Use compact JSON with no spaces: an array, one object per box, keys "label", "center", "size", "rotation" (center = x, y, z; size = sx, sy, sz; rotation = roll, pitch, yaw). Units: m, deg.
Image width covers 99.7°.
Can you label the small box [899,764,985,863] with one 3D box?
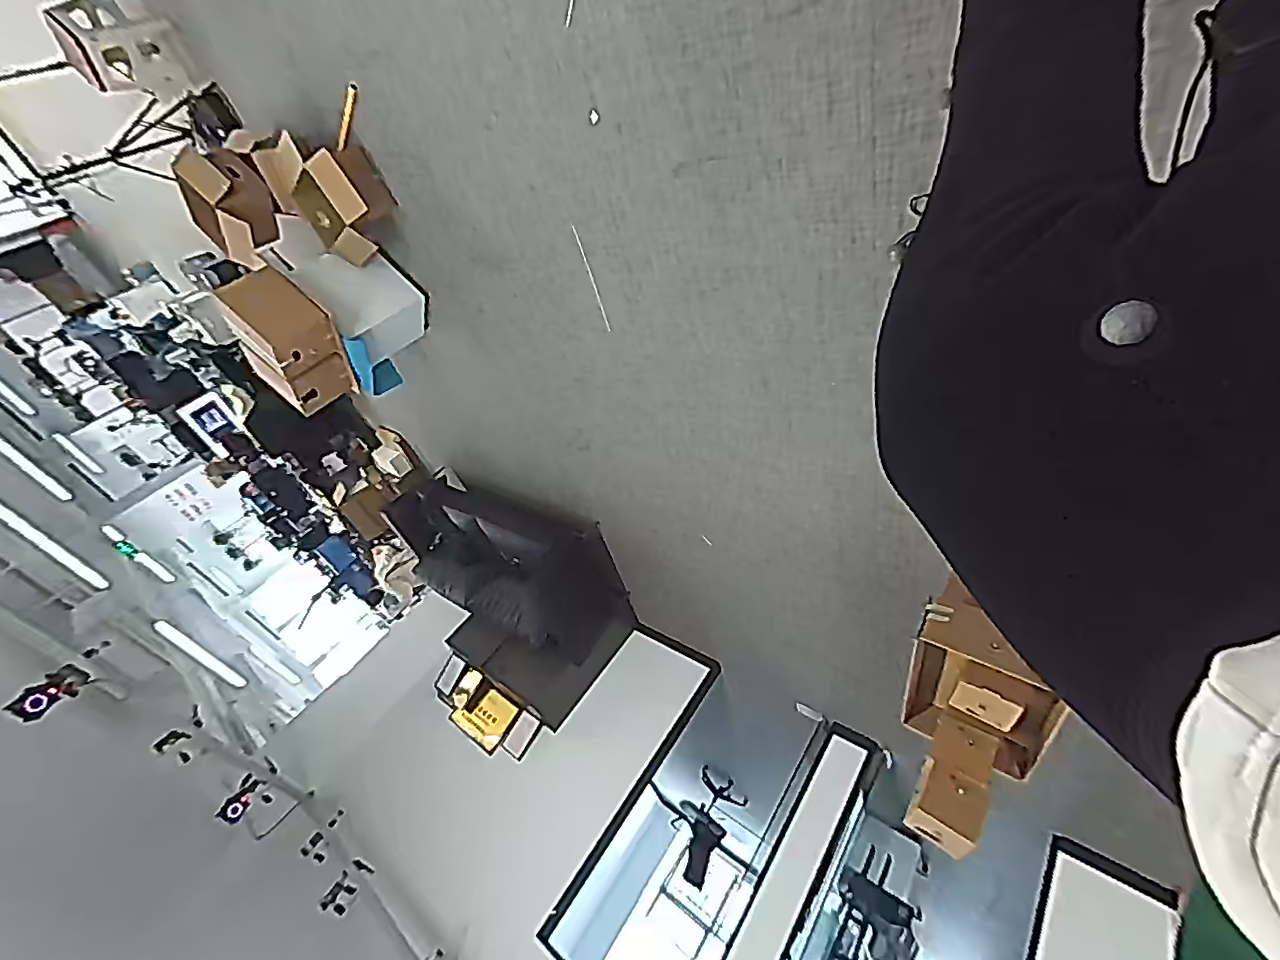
[{"label":"small box","center":[0.918,1.009,1.642],"size":[0.168,0.176,0.179],"rotation":[25,142,29]}]

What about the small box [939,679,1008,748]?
[{"label":"small box","center":[1.111,0.811,1.814],"size":[0.168,0.176,0.179],"rotation":[18,139,36]}]

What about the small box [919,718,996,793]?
[{"label":"small box","center":[1.013,0.906,1.728],"size":[0.168,0.176,0.179],"rotation":[18,139,37]}]
